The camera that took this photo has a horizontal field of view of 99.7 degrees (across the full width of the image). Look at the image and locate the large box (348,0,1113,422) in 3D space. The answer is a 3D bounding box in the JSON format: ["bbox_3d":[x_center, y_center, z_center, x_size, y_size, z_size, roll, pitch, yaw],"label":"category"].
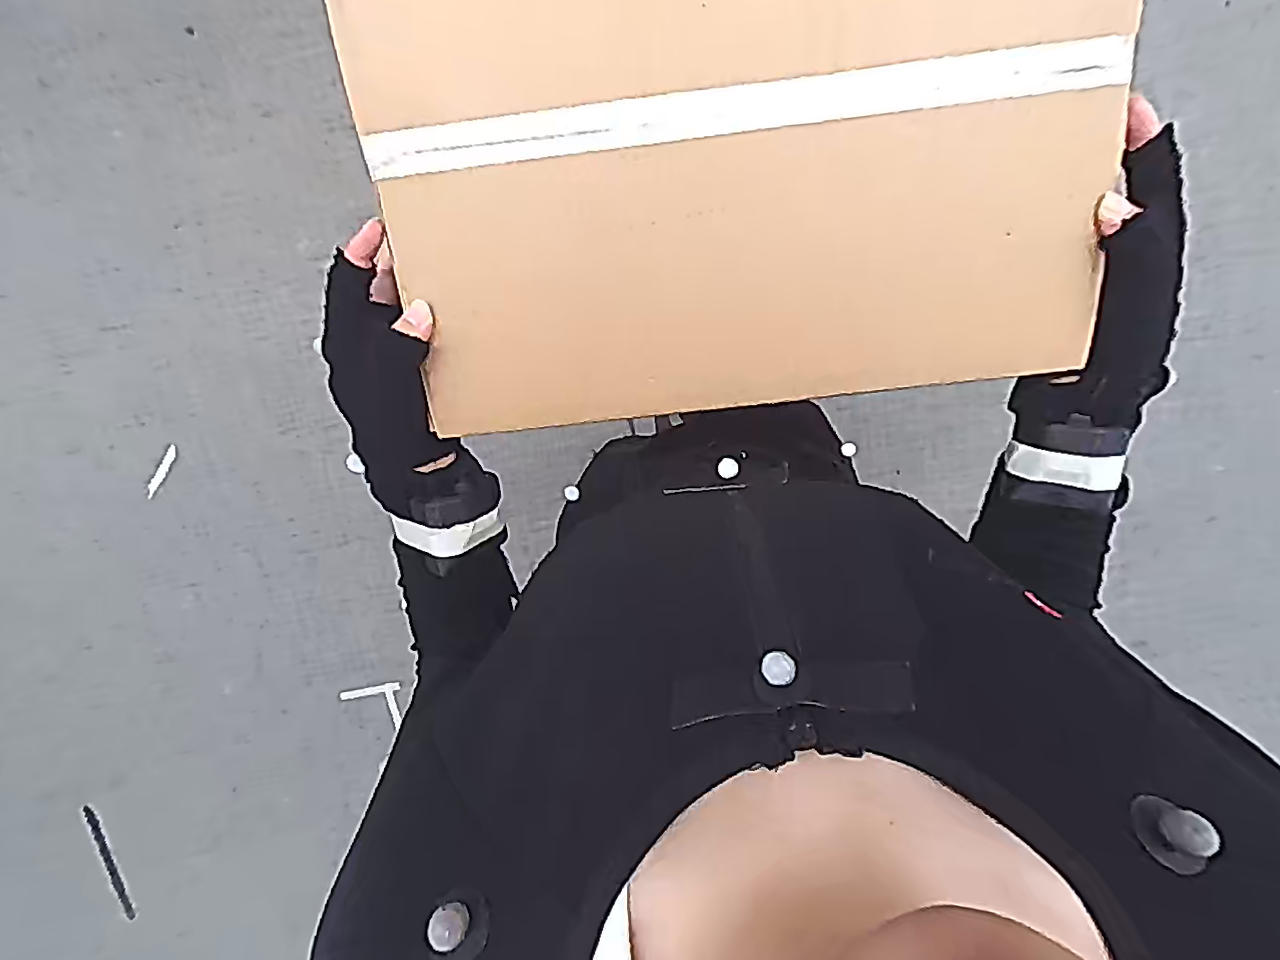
[{"bbox_3d":[0.050,-0.251,0.441,0.408,0.320,0.320,-6,109,1],"label":"large box"}]
